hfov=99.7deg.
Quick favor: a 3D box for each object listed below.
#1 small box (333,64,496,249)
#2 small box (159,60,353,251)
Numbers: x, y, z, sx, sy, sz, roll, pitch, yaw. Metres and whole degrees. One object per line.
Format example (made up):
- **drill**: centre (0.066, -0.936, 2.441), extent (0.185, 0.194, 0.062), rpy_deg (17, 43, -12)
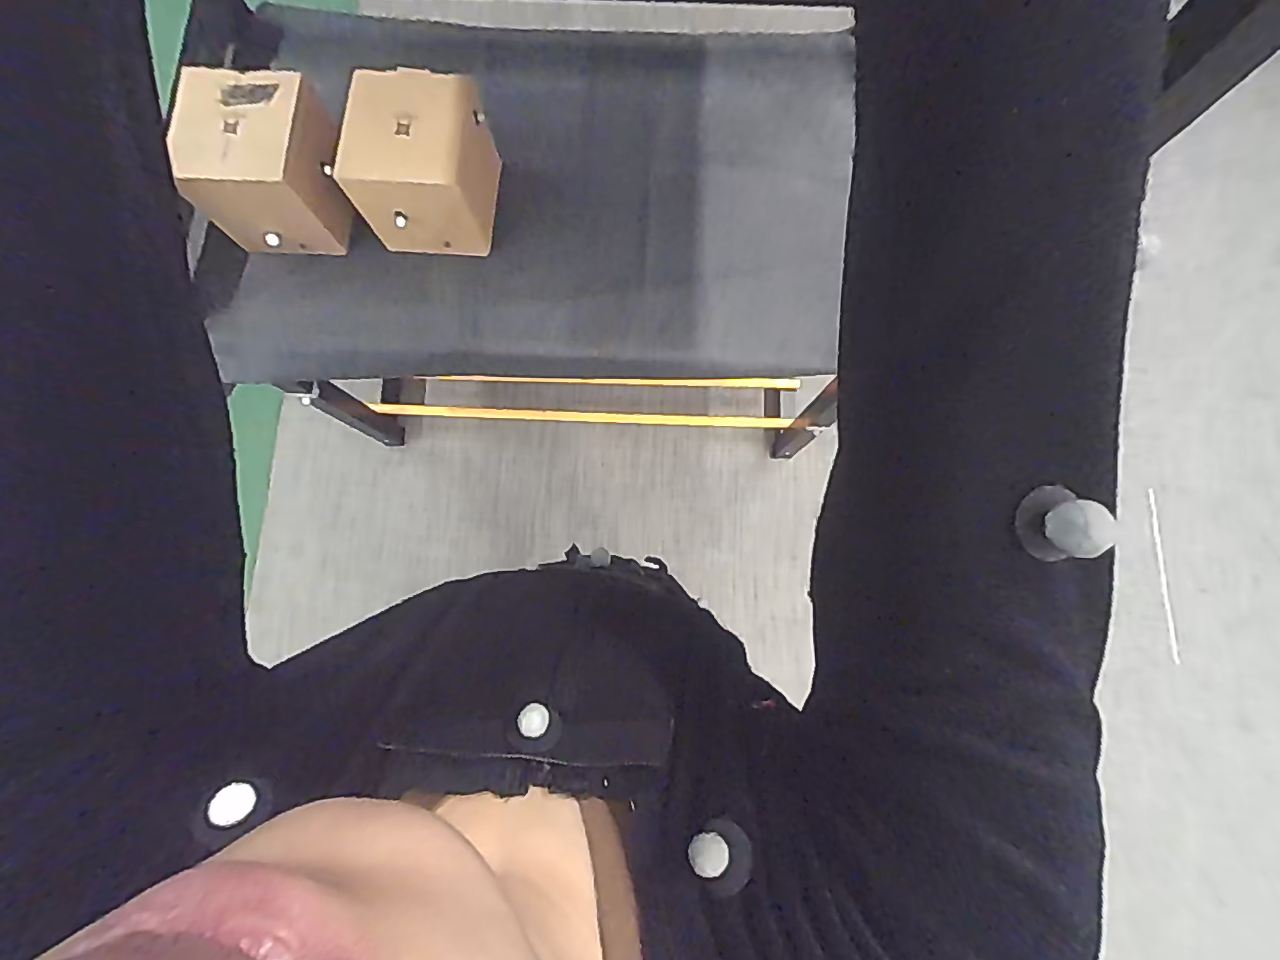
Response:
- **small box**: centre (-0.323, -0.473, 0.811), extent (0.168, 0.176, 0.179), rpy_deg (3, 79, 0)
- **small box**: centre (-0.550, -0.474, 0.806), extent (0.168, 0.176, 0.179), rpy_deg (2, 80, 0)
